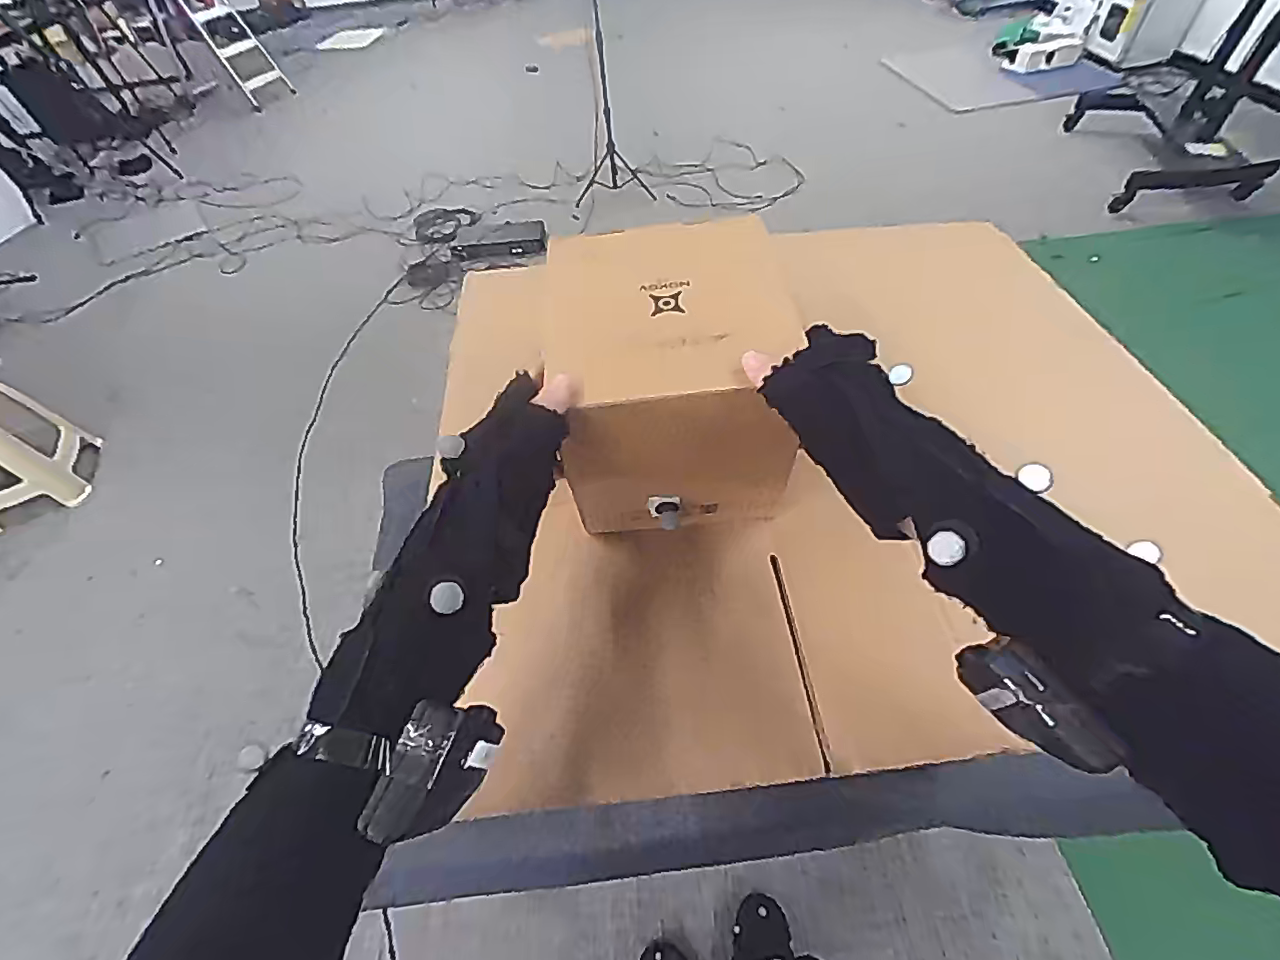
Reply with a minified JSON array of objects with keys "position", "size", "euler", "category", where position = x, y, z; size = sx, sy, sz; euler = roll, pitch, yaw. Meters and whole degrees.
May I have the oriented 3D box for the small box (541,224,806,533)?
[{"position":[0.021,-0.076,0.441],"size":[0.168,0.176,0.179],"euler":[-6,57,2],"category":"small box"}]
